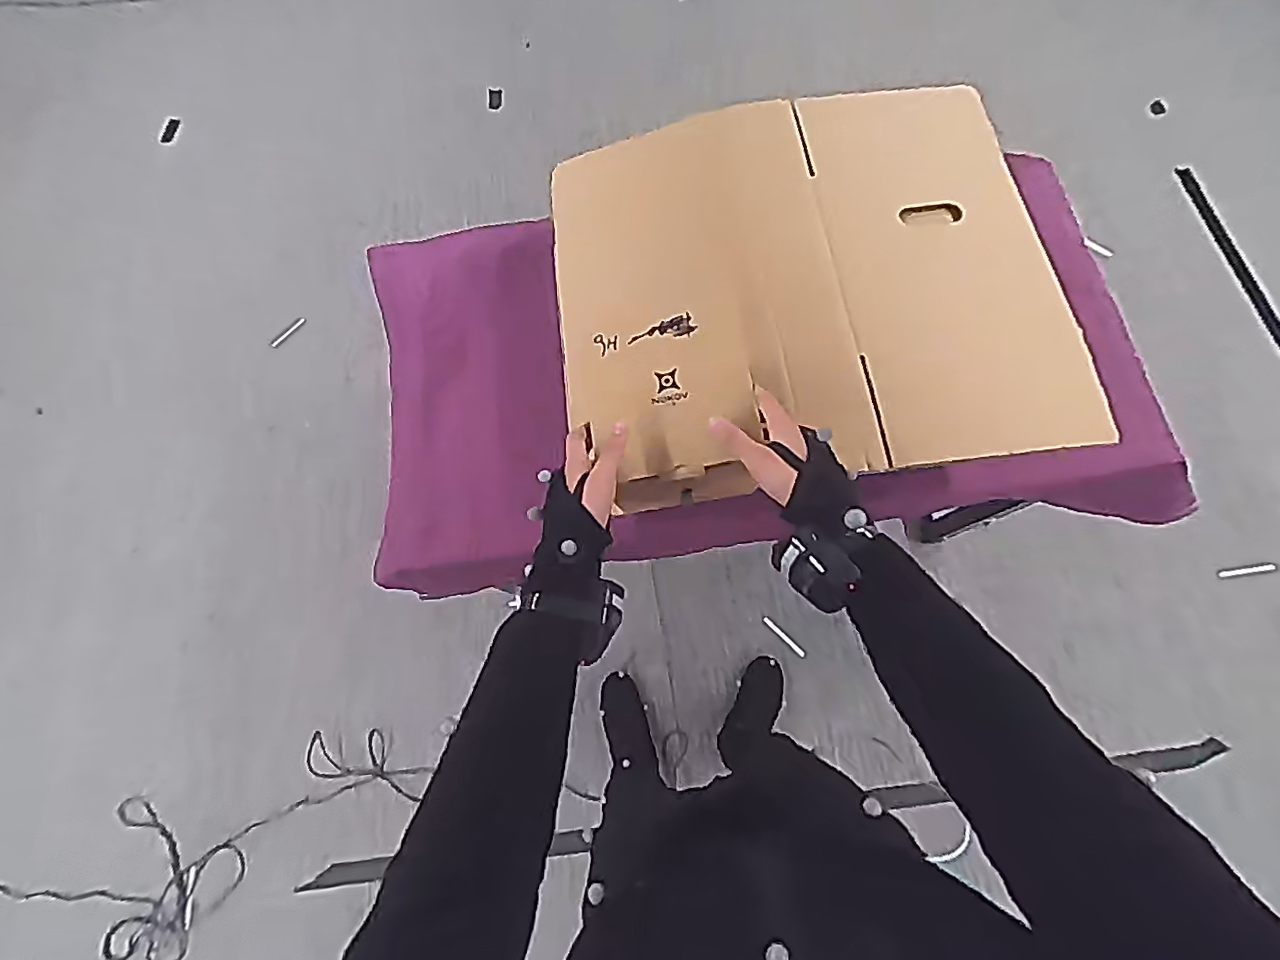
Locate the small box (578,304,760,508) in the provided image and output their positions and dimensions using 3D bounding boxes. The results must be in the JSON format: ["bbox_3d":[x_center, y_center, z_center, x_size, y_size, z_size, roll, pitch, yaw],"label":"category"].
[{"bbox_3d":[0.037,-0.068,0.619,0.168,0.176,0.179,-10,77,5],"label":"small box"}]
